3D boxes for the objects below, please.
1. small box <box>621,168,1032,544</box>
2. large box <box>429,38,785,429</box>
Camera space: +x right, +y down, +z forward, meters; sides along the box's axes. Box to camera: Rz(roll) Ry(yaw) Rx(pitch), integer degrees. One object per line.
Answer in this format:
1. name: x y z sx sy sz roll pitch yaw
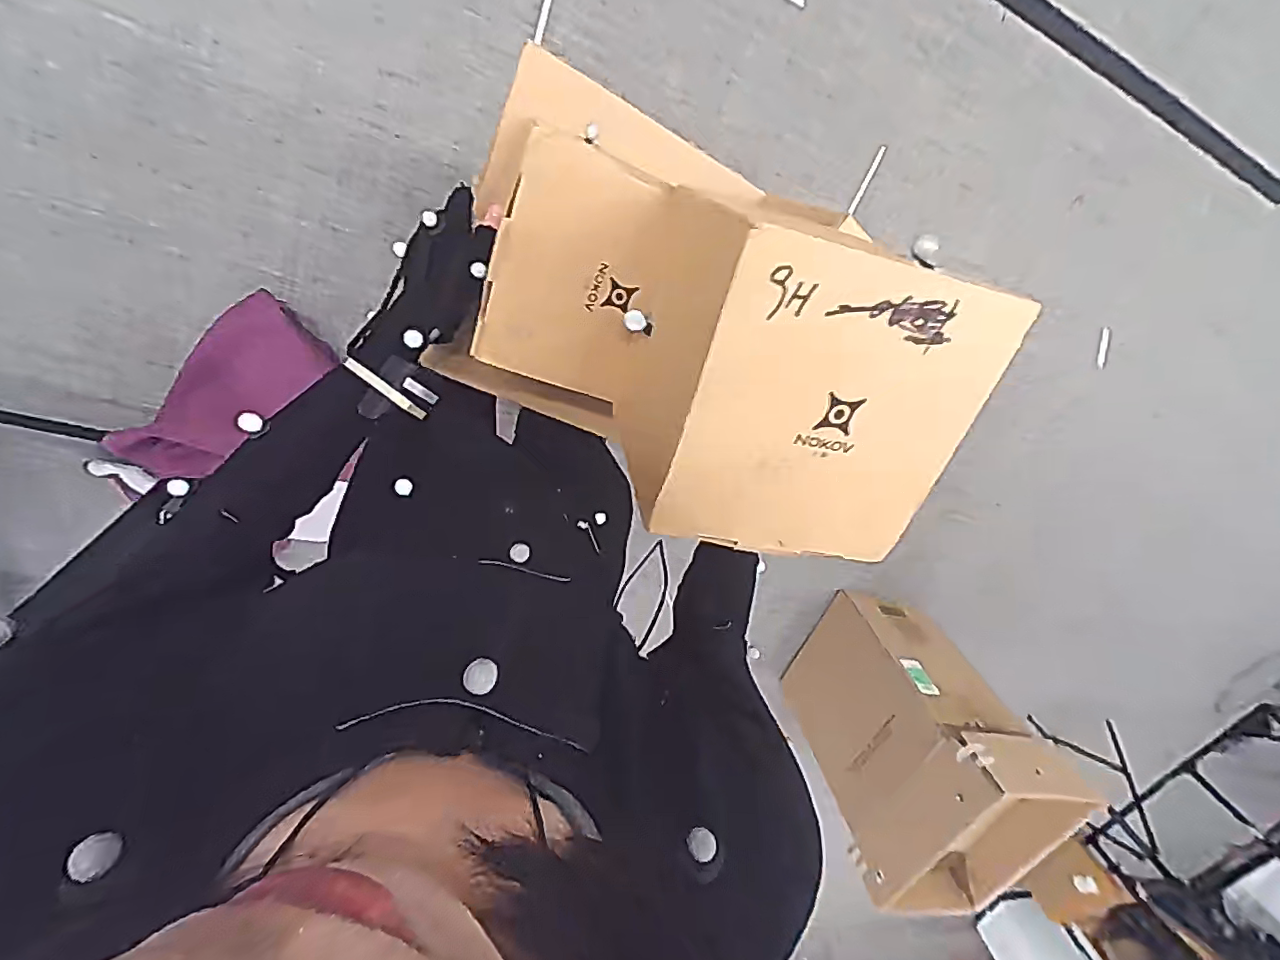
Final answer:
1. small box: 0.089 -0.085 0.359 0.168 0.176 0.179 9 121 -16
2. large box: -0.015 -0.276 0.707 0.408 0.320 0.320 19 118 -22
